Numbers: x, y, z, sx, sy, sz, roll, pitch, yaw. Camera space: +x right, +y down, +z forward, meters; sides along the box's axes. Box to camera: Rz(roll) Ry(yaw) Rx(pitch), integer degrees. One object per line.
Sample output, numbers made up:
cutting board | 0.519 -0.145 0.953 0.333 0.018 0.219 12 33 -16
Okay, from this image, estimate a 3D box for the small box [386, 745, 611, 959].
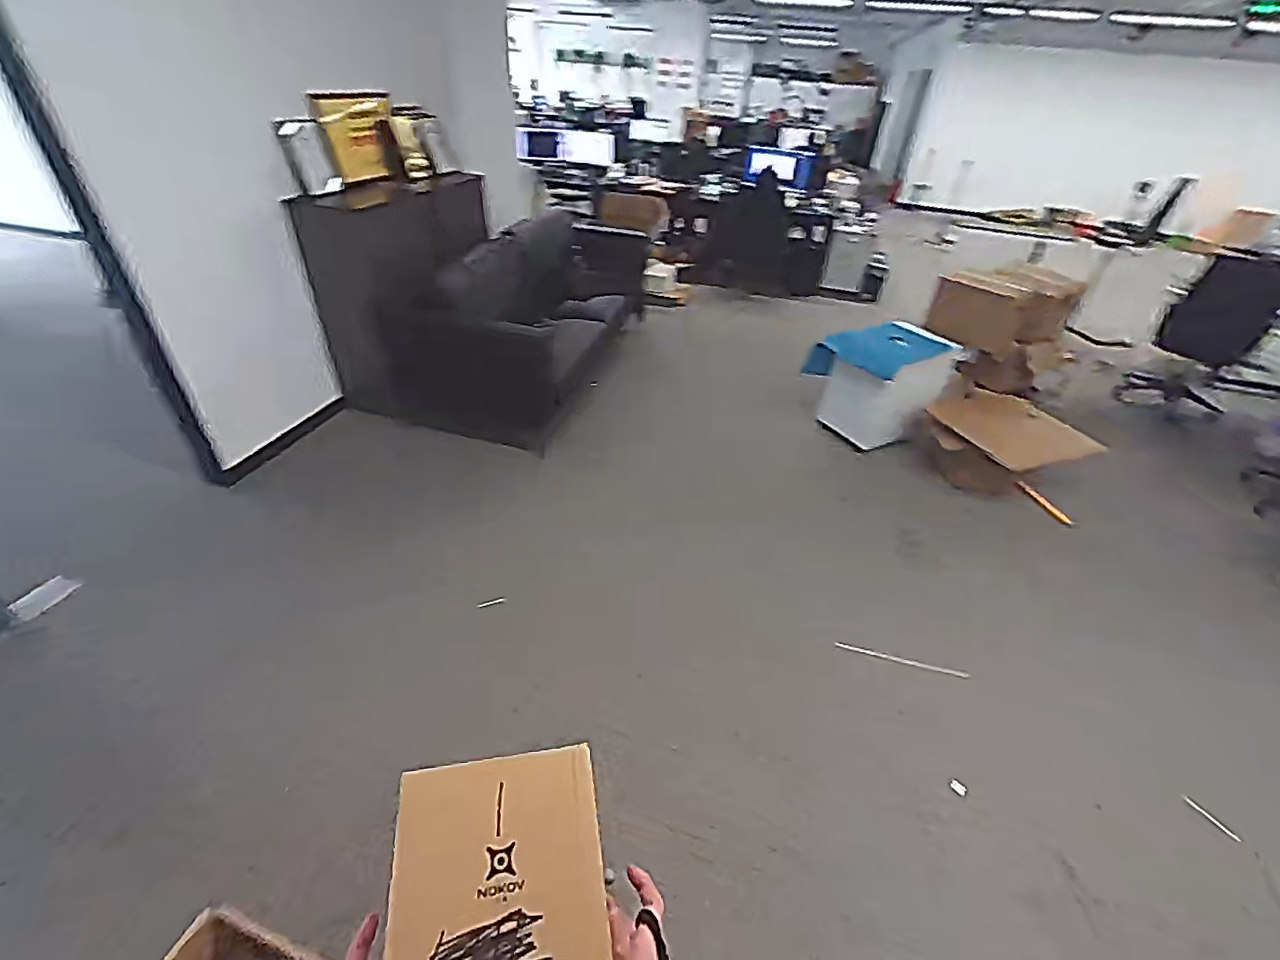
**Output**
small box | -0.117 0.366 0.491 0.168 0.176 0.179 -3 49 -10
